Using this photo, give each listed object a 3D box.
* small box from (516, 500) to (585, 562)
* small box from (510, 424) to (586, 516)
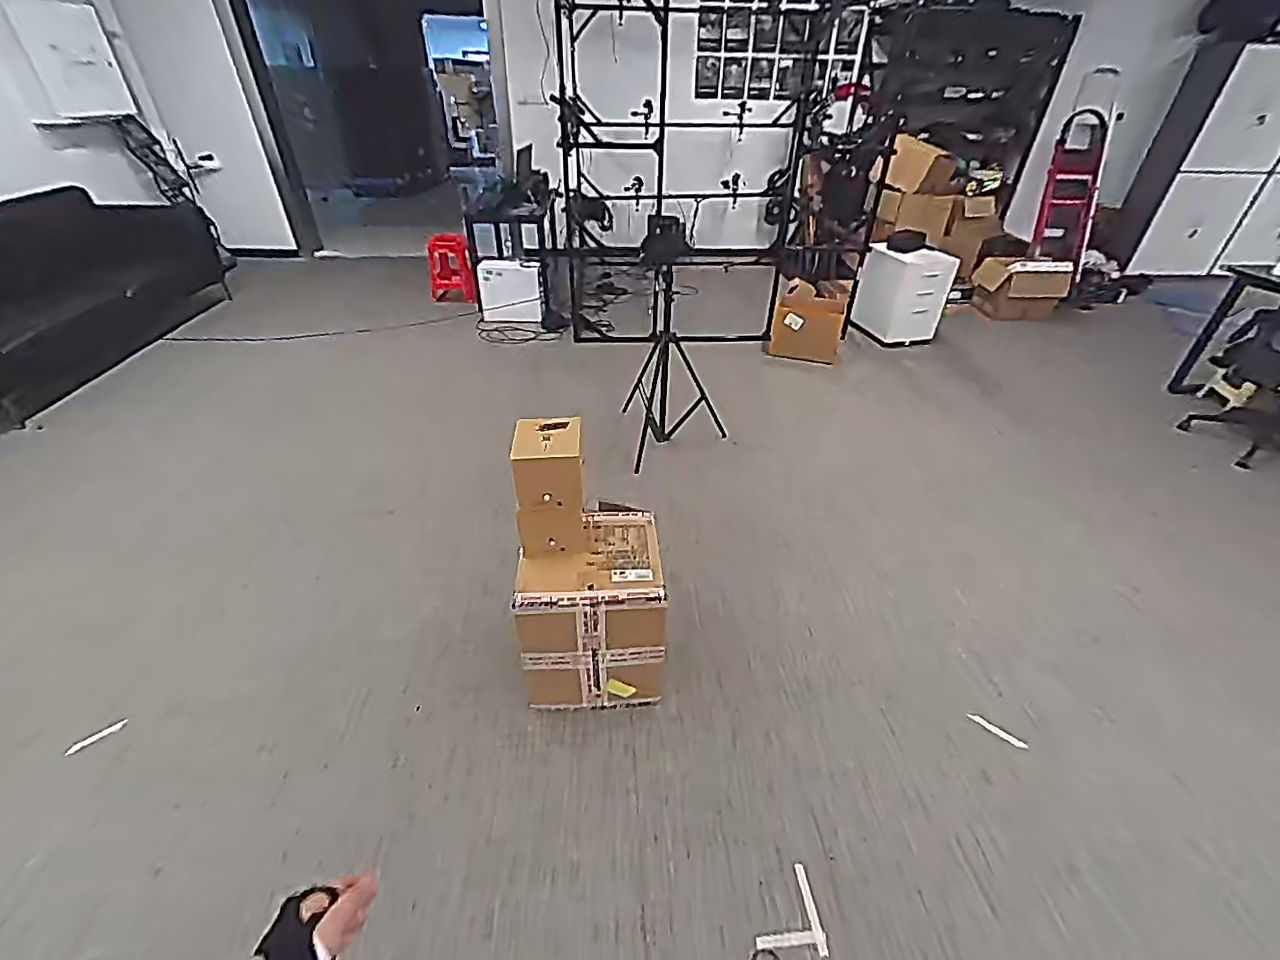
[{"bbox_3d":[-0.242,0.102,1.486,0.168,0.176,0.179,-5,39,-5],"label":"small box"},{"bbox_3d":[-0.228,-0.026,1.383,0.168,0.176,0.179,-3,39,-2],"label":"small box"}]
